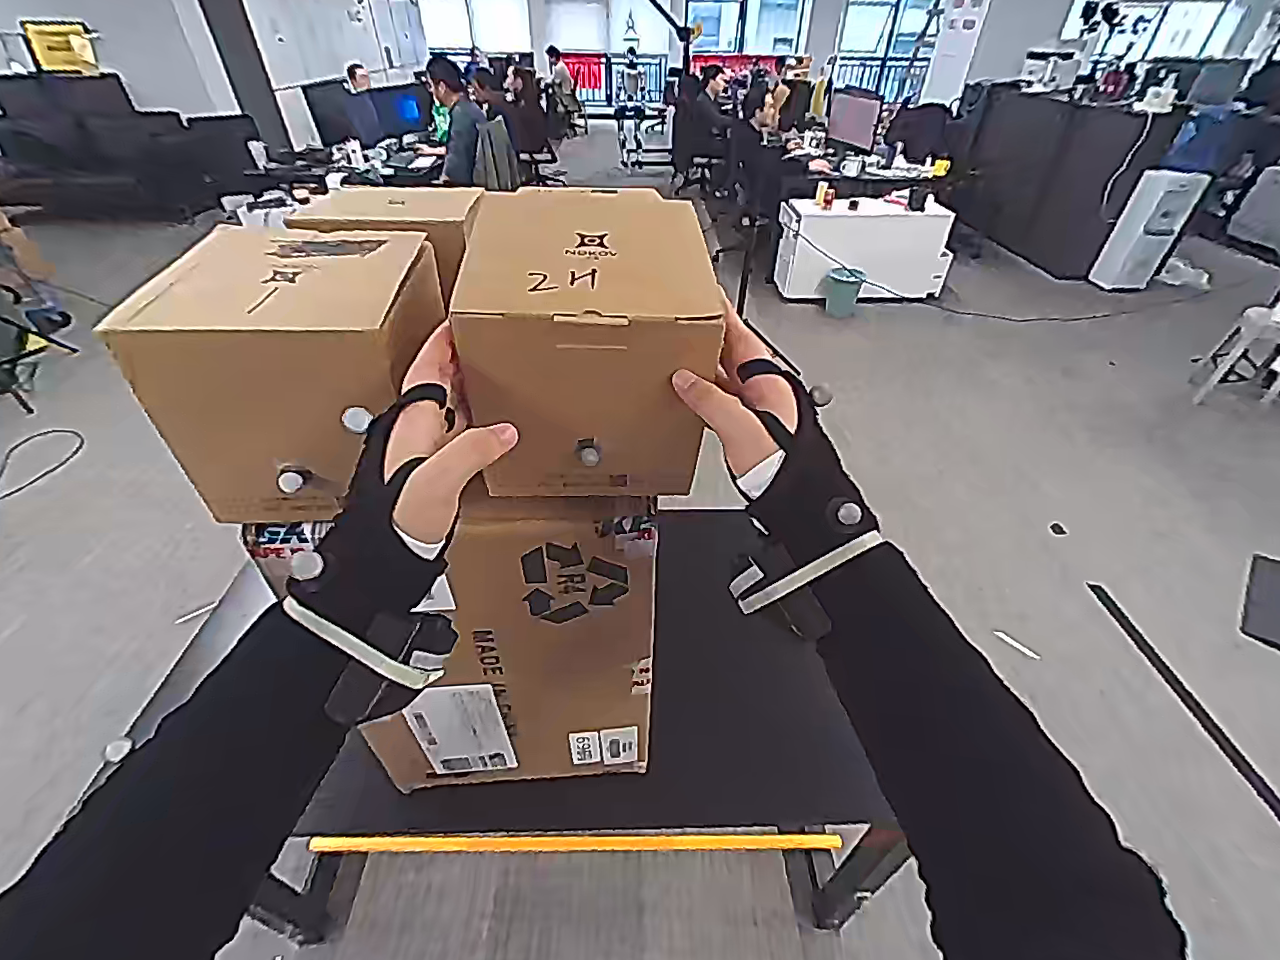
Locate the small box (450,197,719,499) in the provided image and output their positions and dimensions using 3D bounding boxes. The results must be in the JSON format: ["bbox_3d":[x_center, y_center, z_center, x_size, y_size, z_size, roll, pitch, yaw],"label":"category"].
[{"bbox_3d":[-0.041,-0.105,0.438,0.168,0.176,0.179,0,48,-5],"label":"small box"}]
